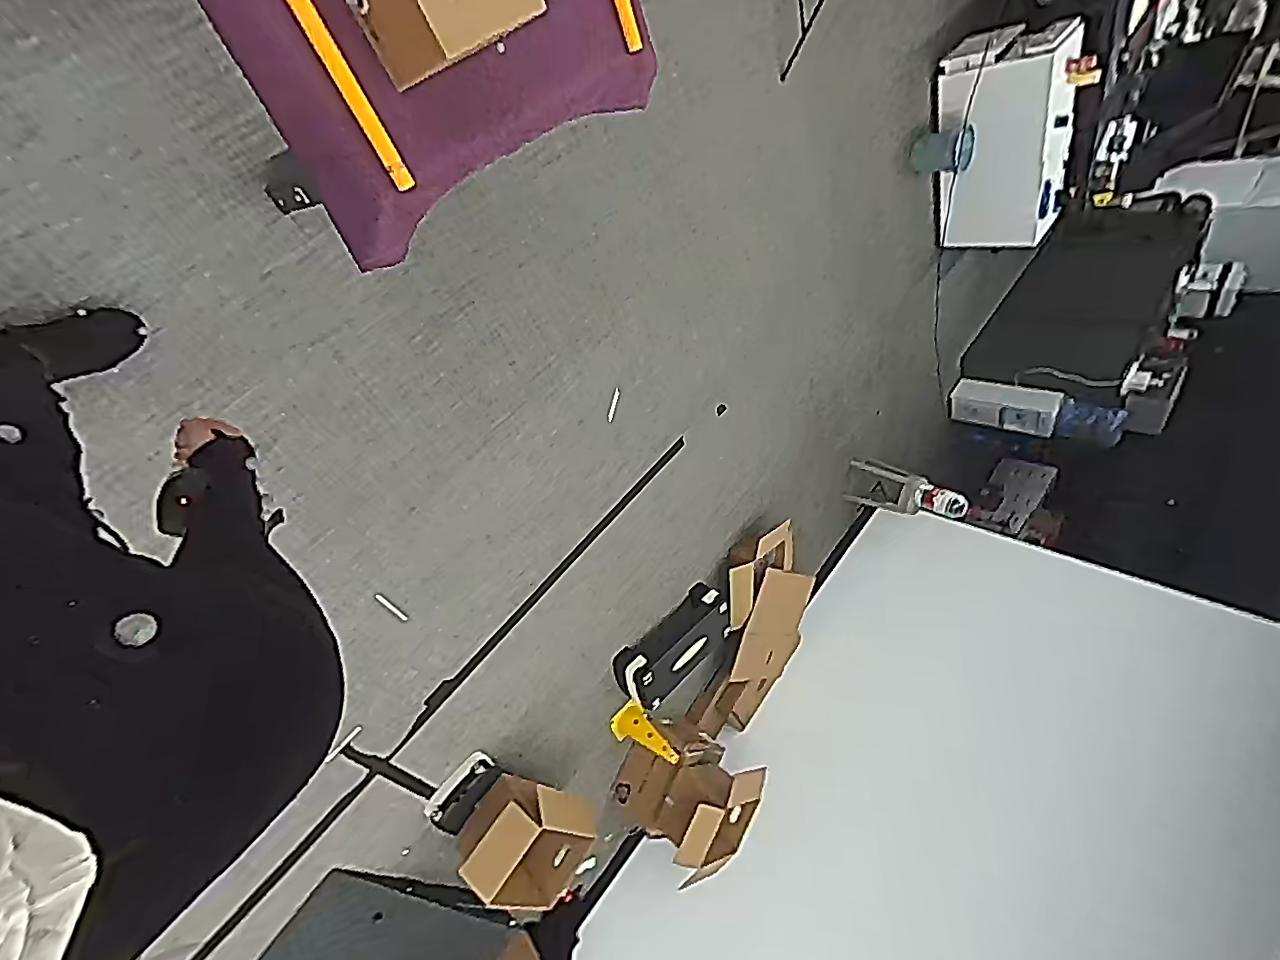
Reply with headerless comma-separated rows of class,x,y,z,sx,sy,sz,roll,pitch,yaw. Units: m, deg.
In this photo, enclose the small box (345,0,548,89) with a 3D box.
small box,-0.256,-0.630,0.676,0.179,0.176,0.168,-48,132,-22
